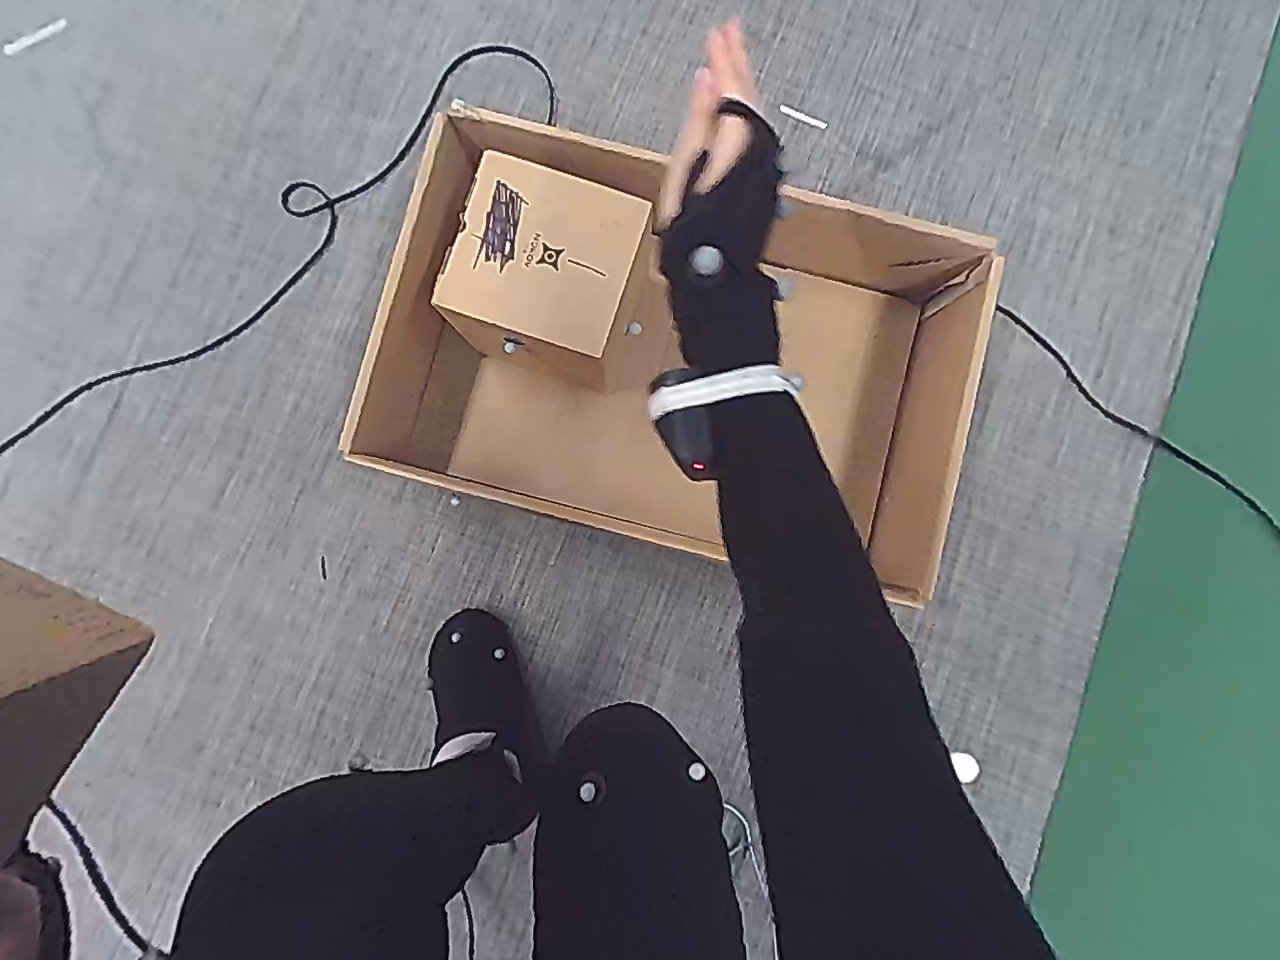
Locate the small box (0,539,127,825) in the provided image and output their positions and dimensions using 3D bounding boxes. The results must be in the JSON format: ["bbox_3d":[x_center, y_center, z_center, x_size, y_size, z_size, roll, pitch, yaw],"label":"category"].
[{"bbox_3d":[-0.322,0.095,0.154,0.168,0.176,0.179,32,83,-10],"label":"small box"}]
